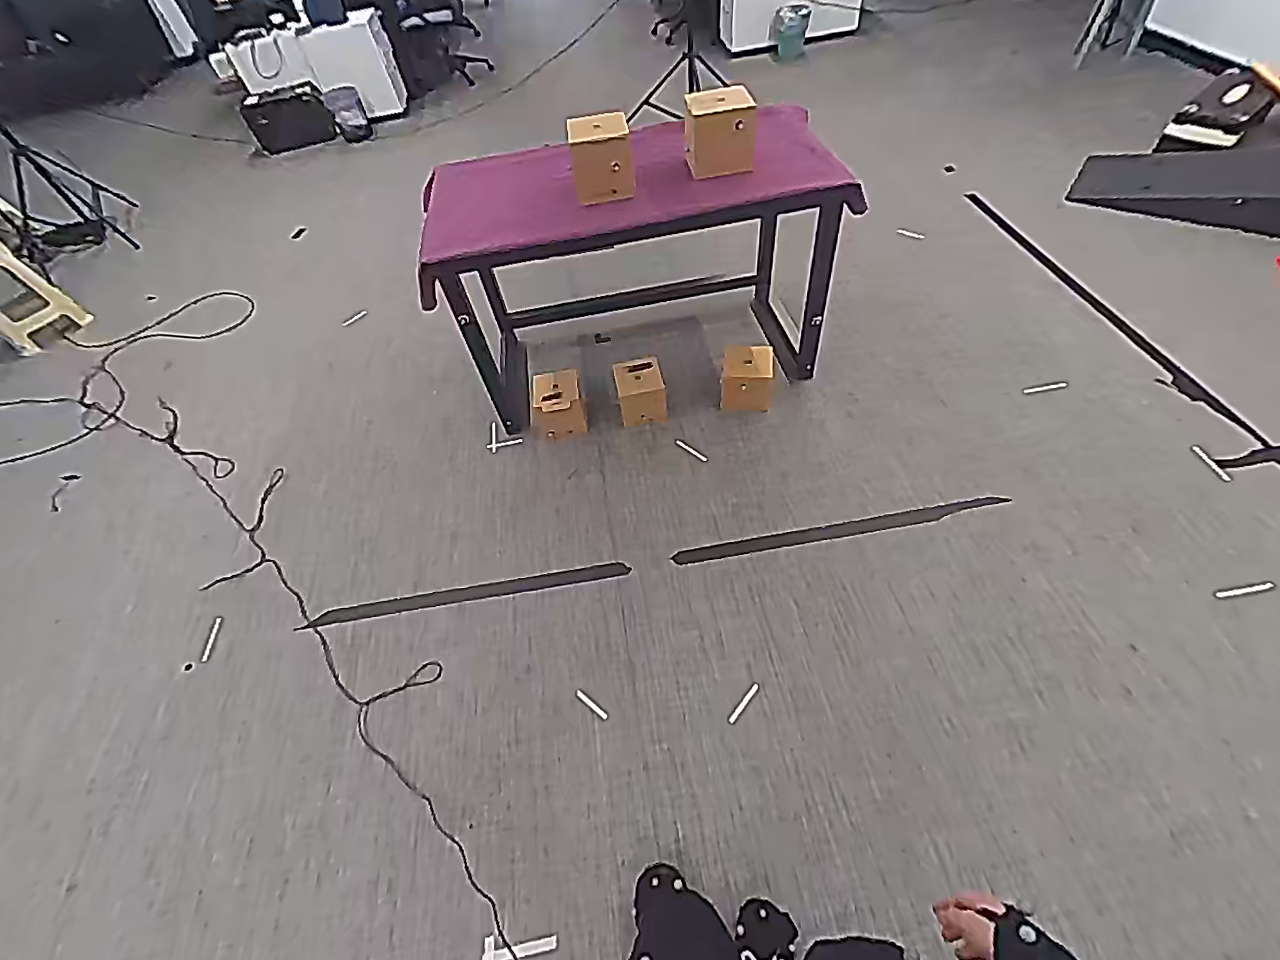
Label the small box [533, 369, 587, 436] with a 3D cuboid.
[{"bbox_3d":[-0.295,-0.280,2.006,0.168,0.176,0.179,-10,51,0],"label":"small box"}]

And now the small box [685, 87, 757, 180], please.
[{"bbox_3d":[0.229,-0.996,1.557,0.179,0.176,0.168,-9,52,1],"label":"small box"}]

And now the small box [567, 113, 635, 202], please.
[{"bbox_3d":[-0.109,-0.910,1.539,0.168,0.176,0.179,-9,50,-1],"label":"small box"}]

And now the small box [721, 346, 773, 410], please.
[{"bbox_3d":[0.391,-0.370,1.984,0.179,0.176,0.168,2,54,11],"label":"small box"}]
